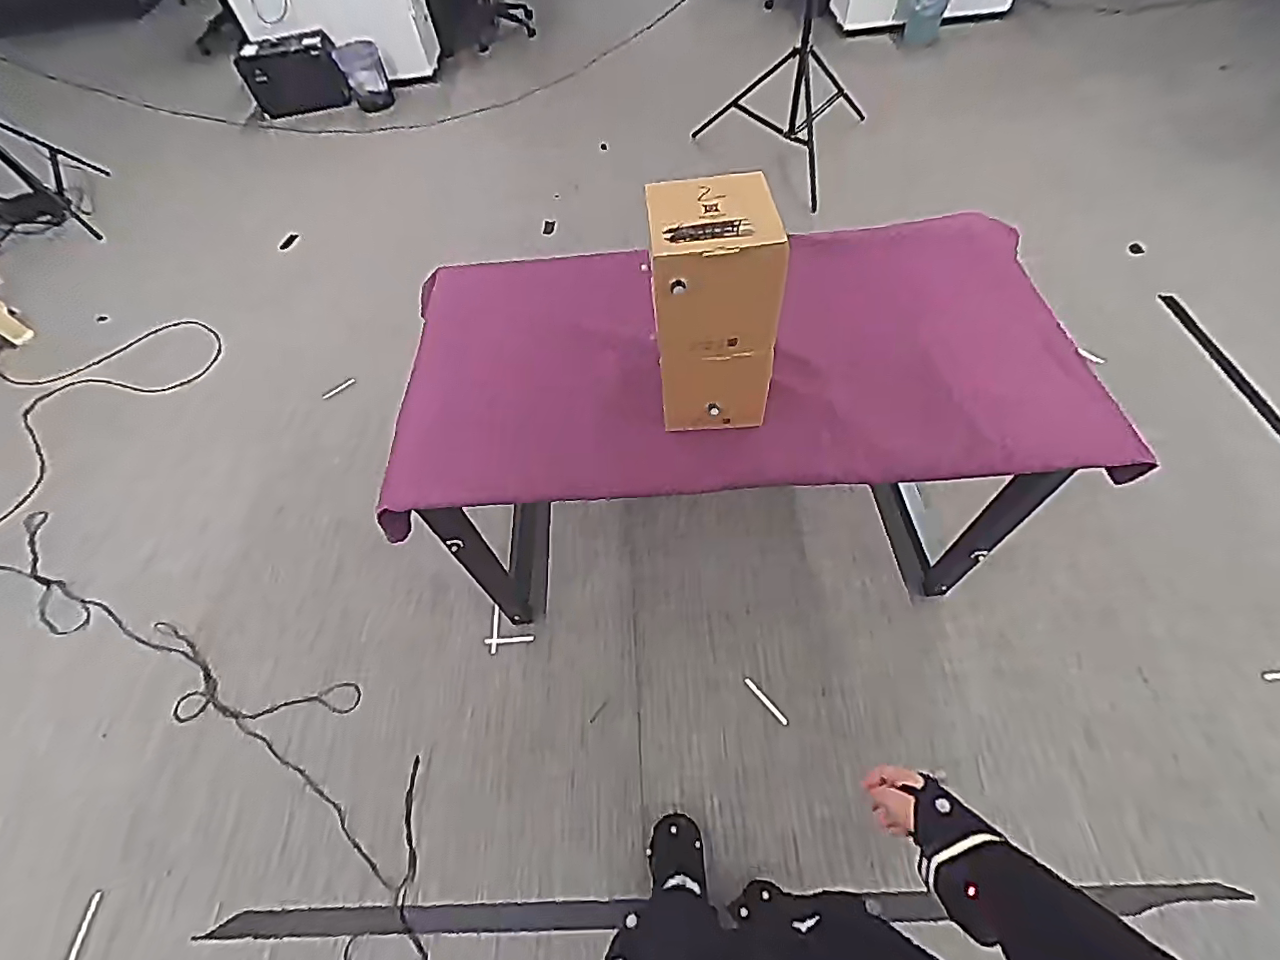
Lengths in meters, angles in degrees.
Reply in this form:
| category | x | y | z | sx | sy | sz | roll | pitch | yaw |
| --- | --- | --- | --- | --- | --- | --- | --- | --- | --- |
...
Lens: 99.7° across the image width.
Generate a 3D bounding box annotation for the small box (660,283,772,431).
| category | x | y | z | sx | sy | sz | roll | pitch | yaw |
| --- | --- | --- | --- | --- | --- | --- | --- | --- | --- |
| small box | 0.118 | -0.202 | 0.901 | 0.168 | 0.176 | 0.179 | -3 | 56 | 4 |
